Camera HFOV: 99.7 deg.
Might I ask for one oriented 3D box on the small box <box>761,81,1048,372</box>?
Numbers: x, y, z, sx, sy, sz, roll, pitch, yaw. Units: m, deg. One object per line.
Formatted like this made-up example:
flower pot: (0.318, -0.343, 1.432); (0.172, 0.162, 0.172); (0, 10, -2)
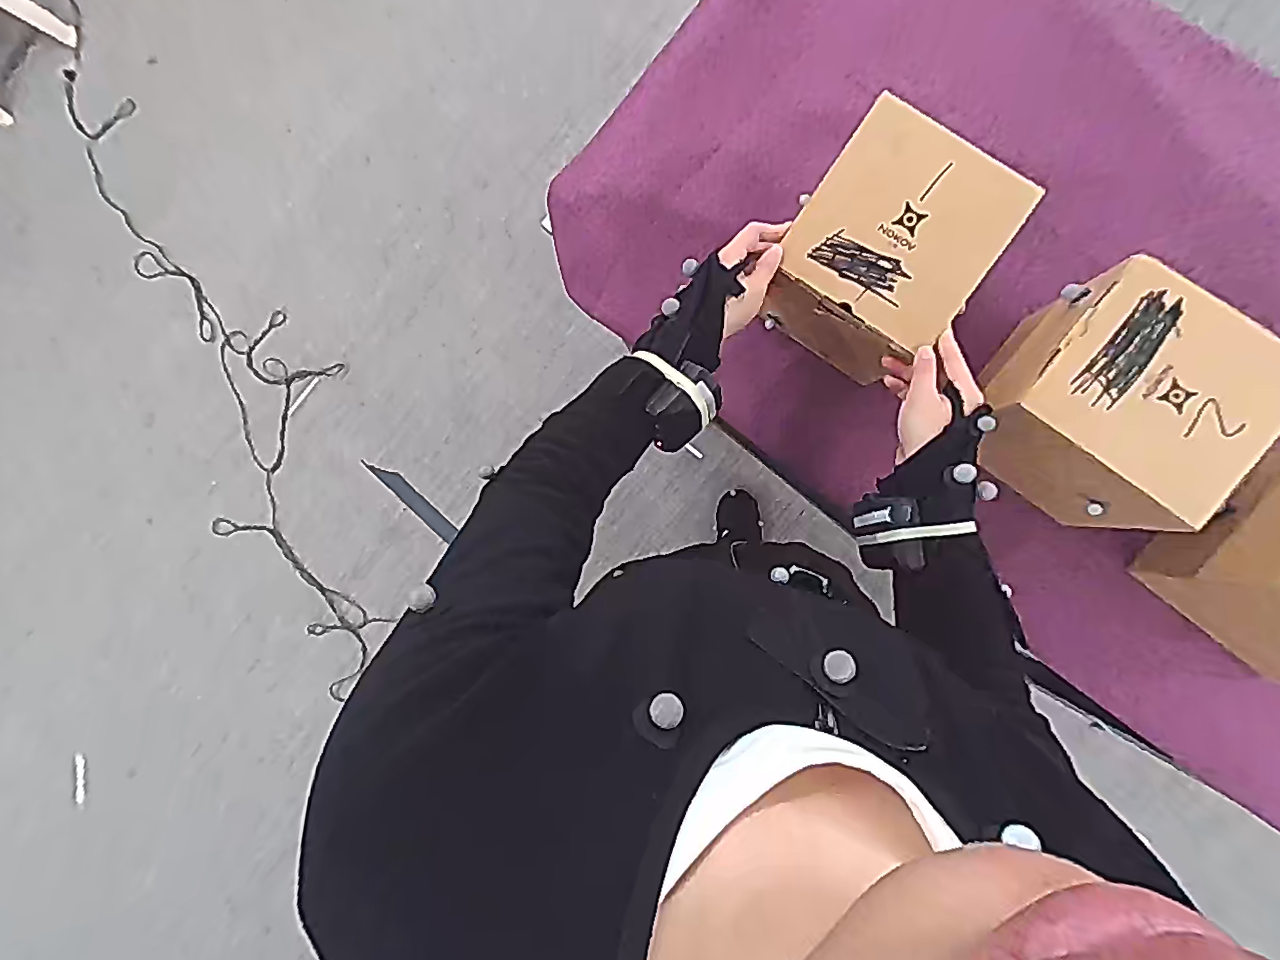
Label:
small box: (0.239, -0.230, 0.545); (0.168, 0.176, 0.179); (35, 94, 3)

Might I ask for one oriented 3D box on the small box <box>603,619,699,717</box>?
small box: (0.023, 0.434, 1.247); (0.179, 0.176, 0.168); (17, 65, 3)
